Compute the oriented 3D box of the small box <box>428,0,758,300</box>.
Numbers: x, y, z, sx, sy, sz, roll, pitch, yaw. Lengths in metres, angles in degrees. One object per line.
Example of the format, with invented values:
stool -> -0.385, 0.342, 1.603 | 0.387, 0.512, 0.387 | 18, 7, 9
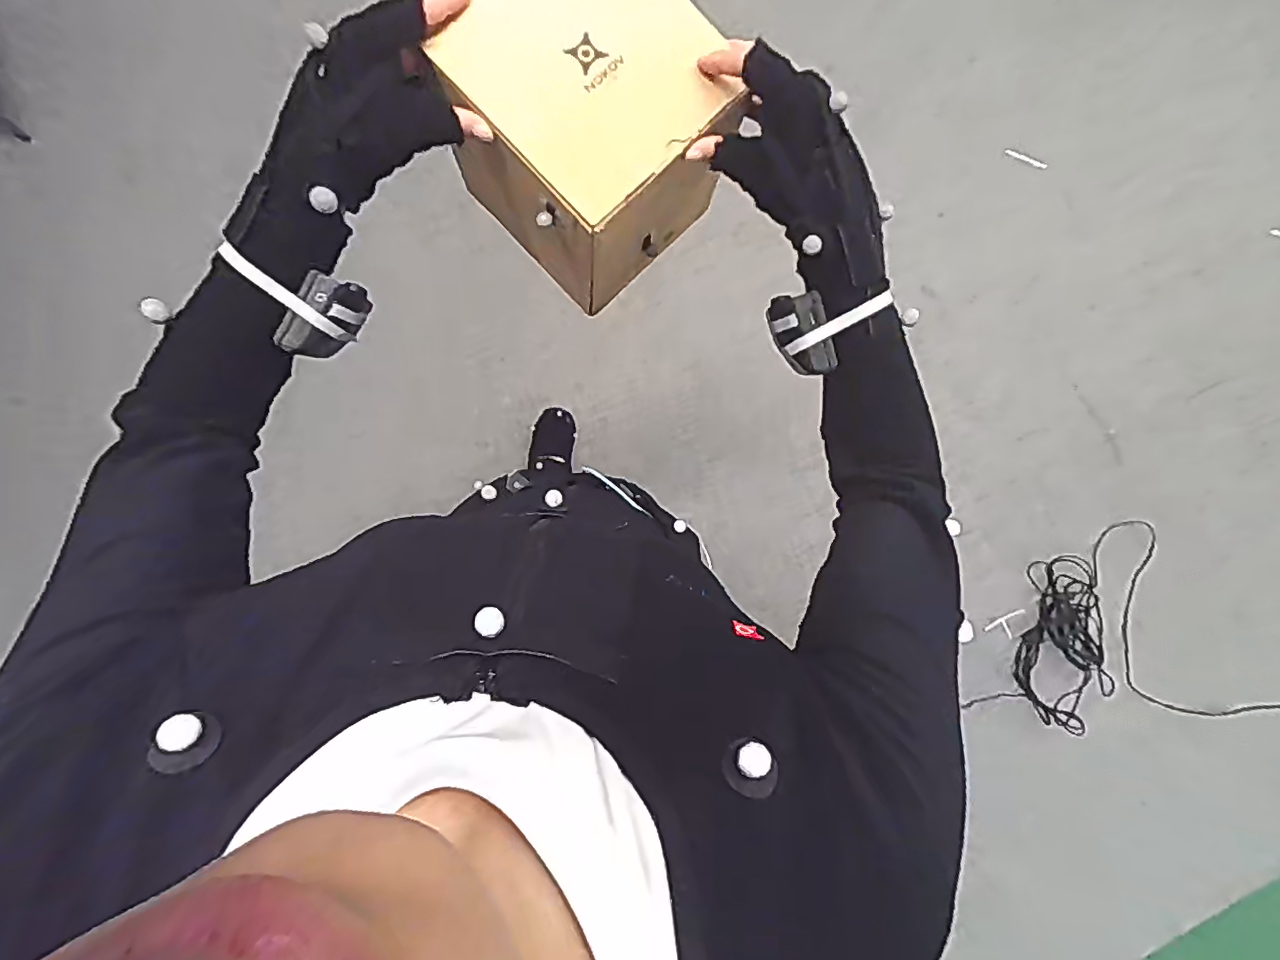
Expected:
small box -> -0.039, -0.288, 0.457 | 0.168, 0.176, 0.179 | -44, 93, -6
